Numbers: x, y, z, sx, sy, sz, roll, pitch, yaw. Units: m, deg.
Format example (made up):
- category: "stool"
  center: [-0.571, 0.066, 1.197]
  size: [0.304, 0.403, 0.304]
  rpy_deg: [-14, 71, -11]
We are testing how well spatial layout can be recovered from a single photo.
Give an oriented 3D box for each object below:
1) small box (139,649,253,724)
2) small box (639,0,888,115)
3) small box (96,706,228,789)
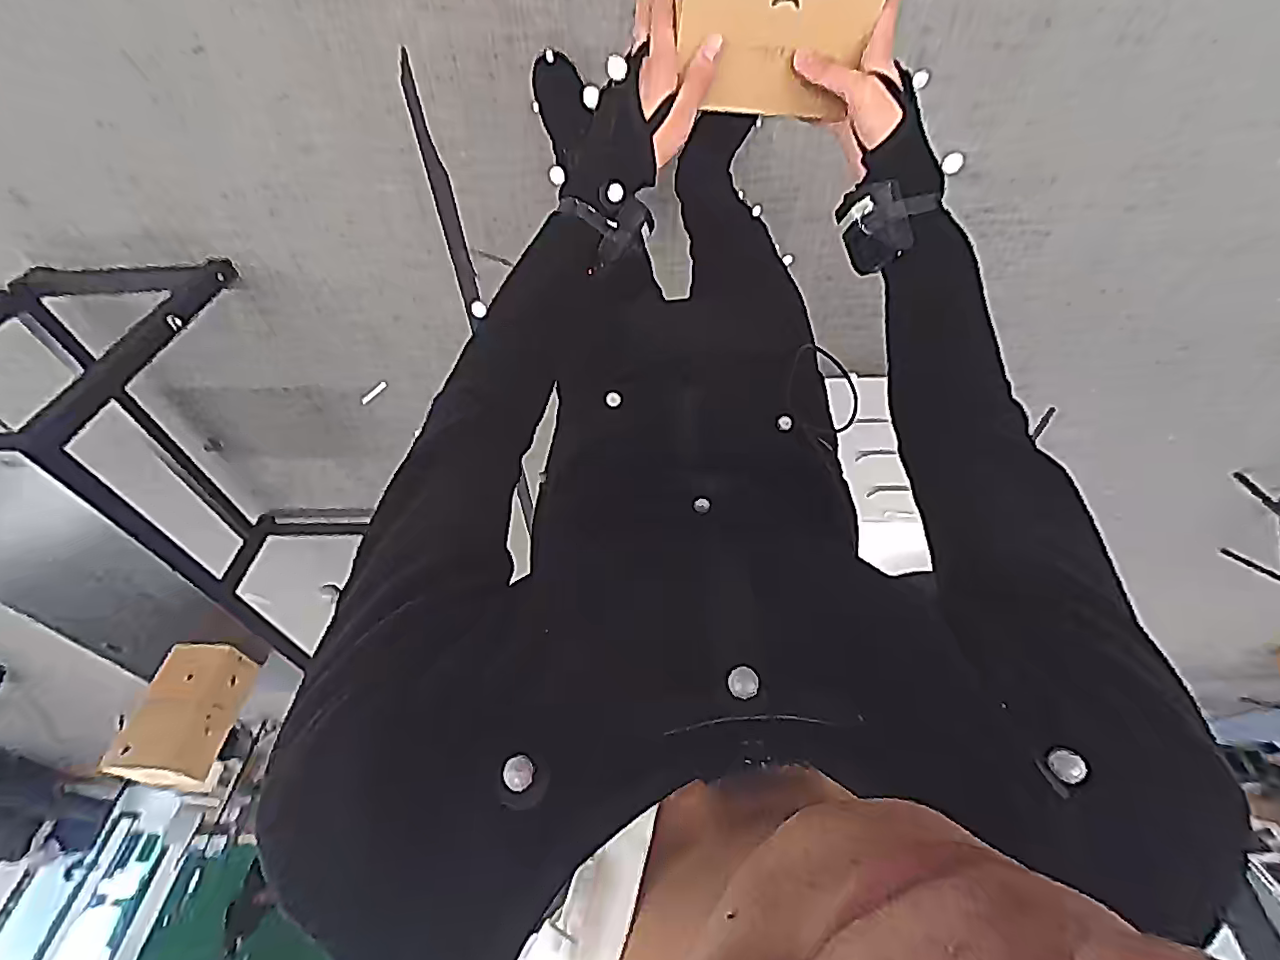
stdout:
- category: "small box"
  center: [-1.285, 0.606, 1.588]
  size: [0.179, 0.176, 0.168]
  rpy_deg: [-2, 138, 3]
- category: "small box"
  center: [0.098, -0.435, 0.449]
  size: [0.168, 0.176, 0.179]
  rpy_deg: [-4, 140, -12]
- category: "small box"
  center: [-1.291, 0.730, 1.478]
  size: [0.179, 0.176, 0.168]
  rpy_deg: [-1, 139, 3]
